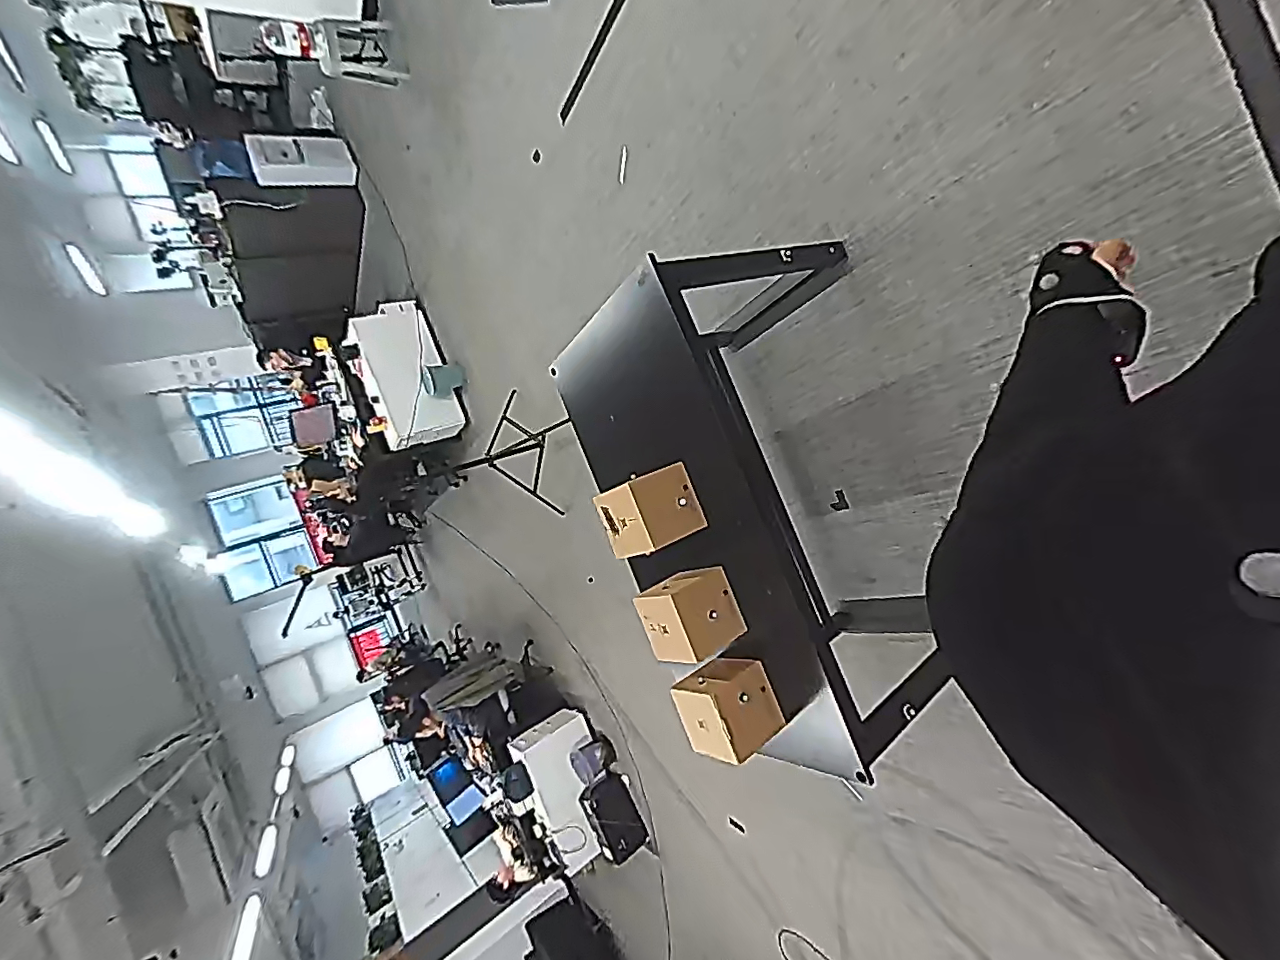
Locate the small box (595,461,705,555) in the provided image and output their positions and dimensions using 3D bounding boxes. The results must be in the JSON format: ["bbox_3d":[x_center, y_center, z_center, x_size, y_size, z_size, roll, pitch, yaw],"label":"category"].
[{"bbox_3d":[0.024,0.069,1.302,0.179,0.176,0.168,-24,88,57],"label":"small box"}]

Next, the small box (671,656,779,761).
[{"bbox_3d":[0.210,0.538,1.300,0.179,0.176,0.168,-26,85,58],"label":"small box"}]

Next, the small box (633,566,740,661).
[{"bbox_3d":[0.118,0.317,1.304,0.179,0.176,0.168,-24,87,57],"label":"small box"}]
